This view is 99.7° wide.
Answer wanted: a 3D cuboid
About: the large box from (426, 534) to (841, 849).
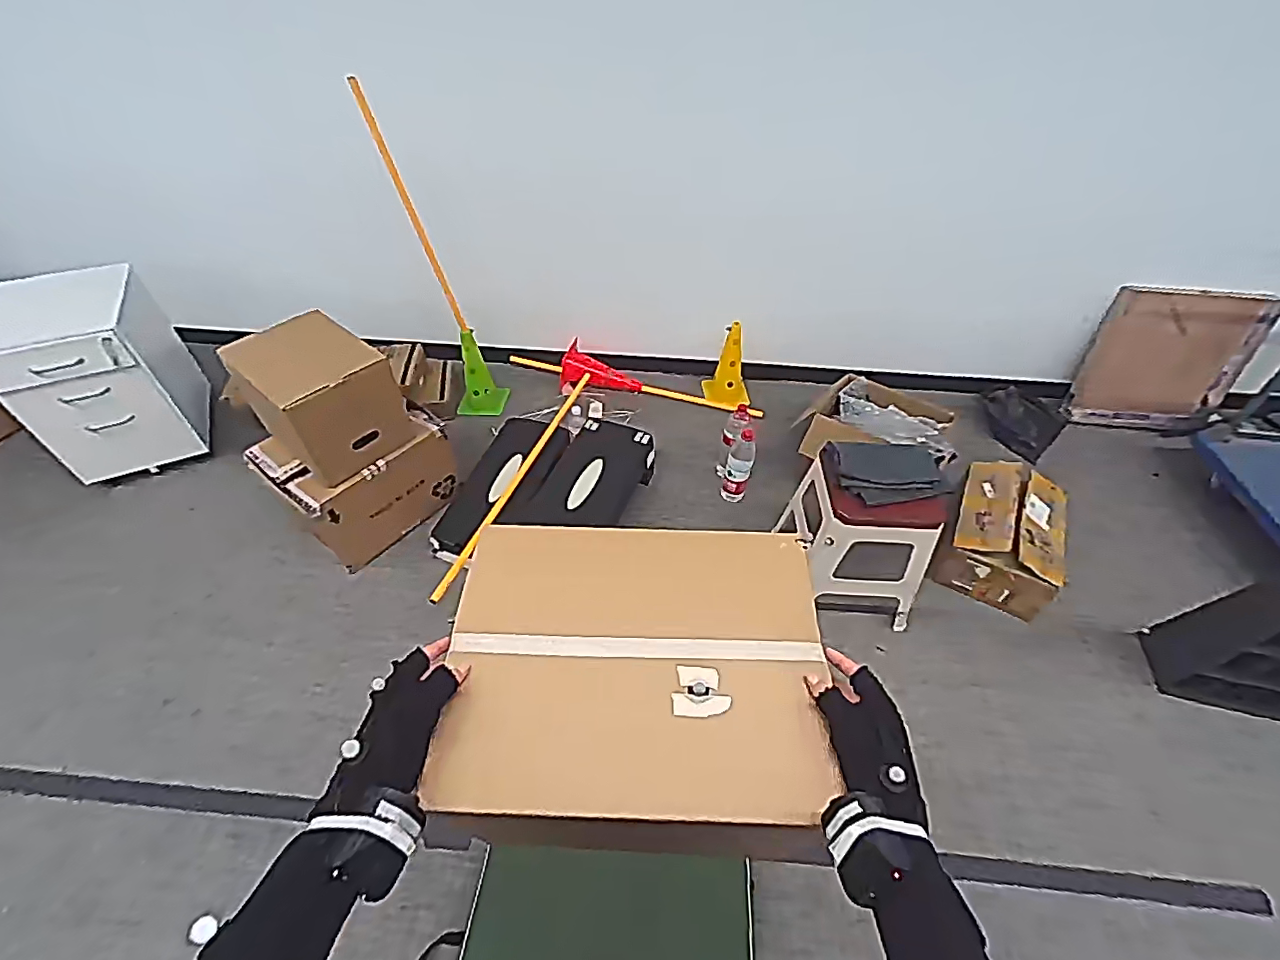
[{"bbox_3d":[-0.007,0.286,0.717,0.408,0.320,0.320,2,51,0],"label":"large box"}]
